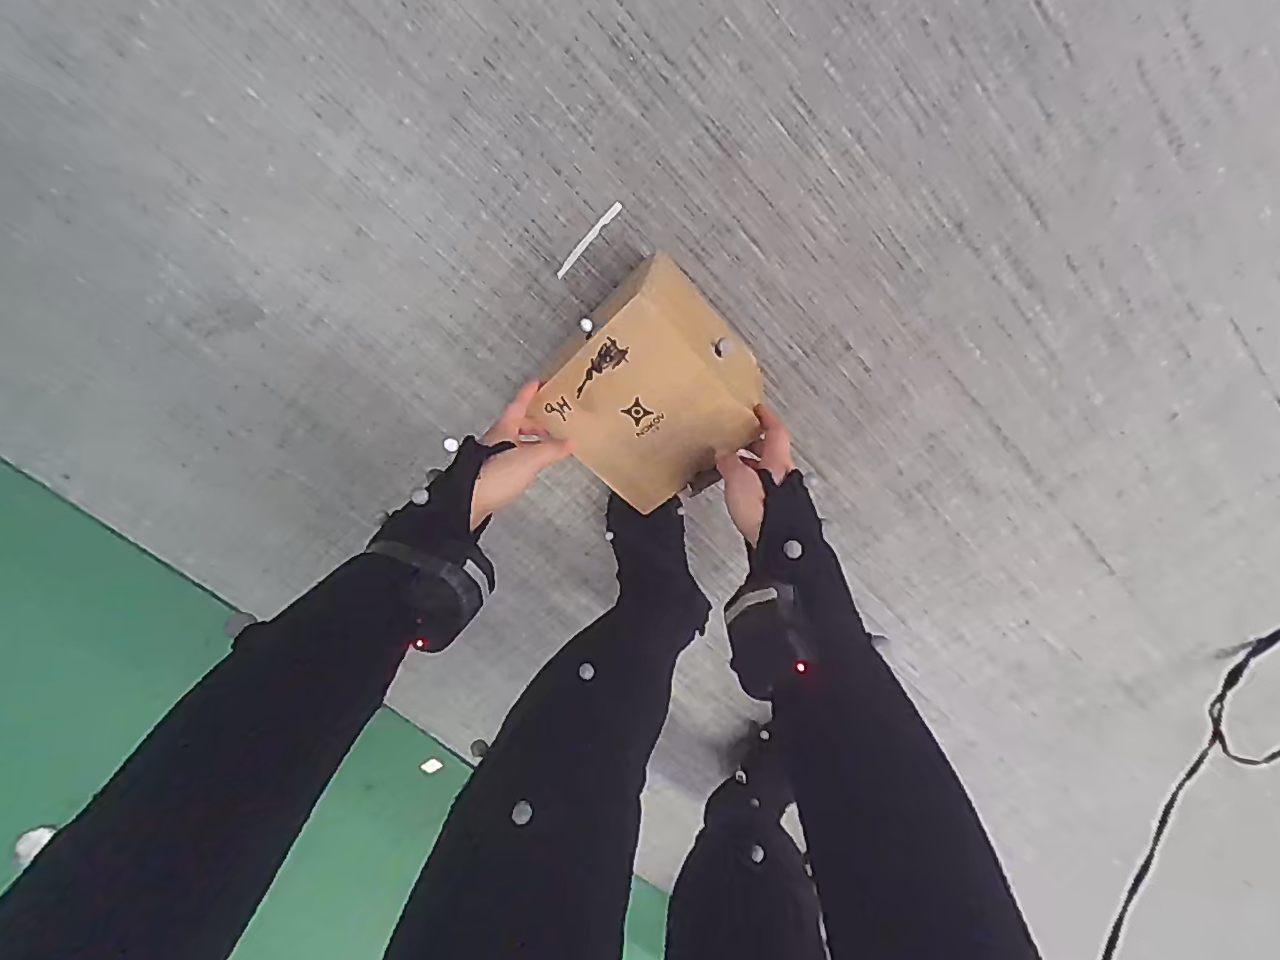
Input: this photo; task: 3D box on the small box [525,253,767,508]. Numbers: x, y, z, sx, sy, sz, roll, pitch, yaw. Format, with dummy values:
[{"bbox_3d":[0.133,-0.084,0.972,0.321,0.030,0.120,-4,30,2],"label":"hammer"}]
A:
[{"bbox_3d":[0.013,-0.110,0.578,0.168,0.176,0.179,-37,113,27],"label":"small box"}]
